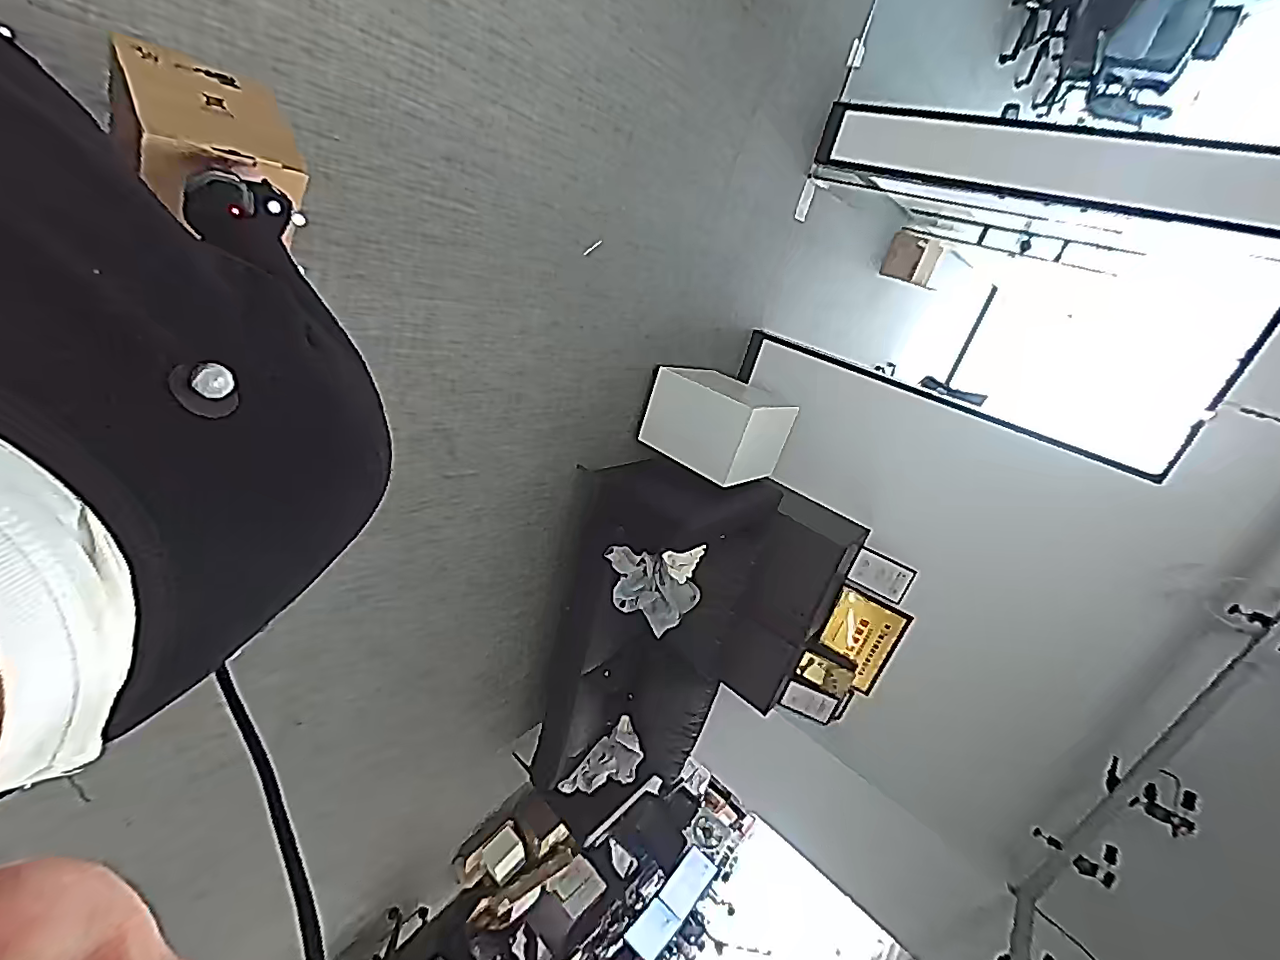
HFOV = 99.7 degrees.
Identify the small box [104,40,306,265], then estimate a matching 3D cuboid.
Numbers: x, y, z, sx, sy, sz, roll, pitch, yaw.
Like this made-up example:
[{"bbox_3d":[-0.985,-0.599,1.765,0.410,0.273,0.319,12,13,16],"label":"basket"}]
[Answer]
[{"bbox_3d":[-0.573,-0.413,0.718,0.168,0.179,0.176,-16,161,-47],"label":"small box"}]
